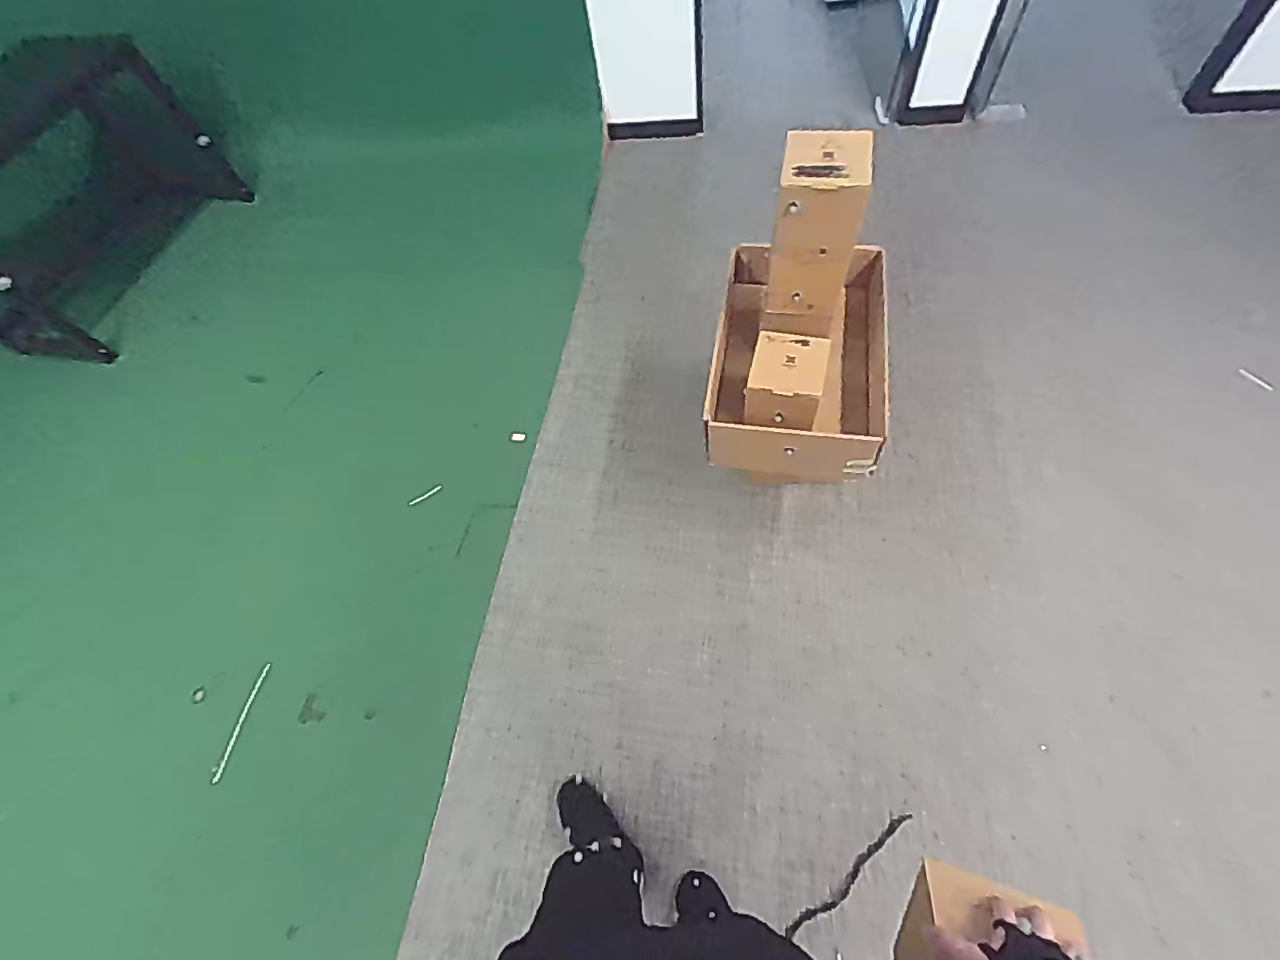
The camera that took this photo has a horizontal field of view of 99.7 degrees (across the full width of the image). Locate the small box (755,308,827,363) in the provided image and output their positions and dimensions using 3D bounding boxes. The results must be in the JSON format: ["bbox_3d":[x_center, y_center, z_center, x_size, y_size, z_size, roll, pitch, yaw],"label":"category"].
[{"bbox_3d":[0.395,-0.434,1.422,0.168,0.176,0.179,6,63,11],"label":"small box"}]

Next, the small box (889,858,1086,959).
[{"bbox_3d":[0.386,0.590,0.602,0.168,0.179,0.176,13,107,19],"label":"small box"}]

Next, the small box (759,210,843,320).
[{"bbox_3d":[0.376,-0.507,1.278,0.168,0.176,0.179,6,64,10],"label":"small box"}]
